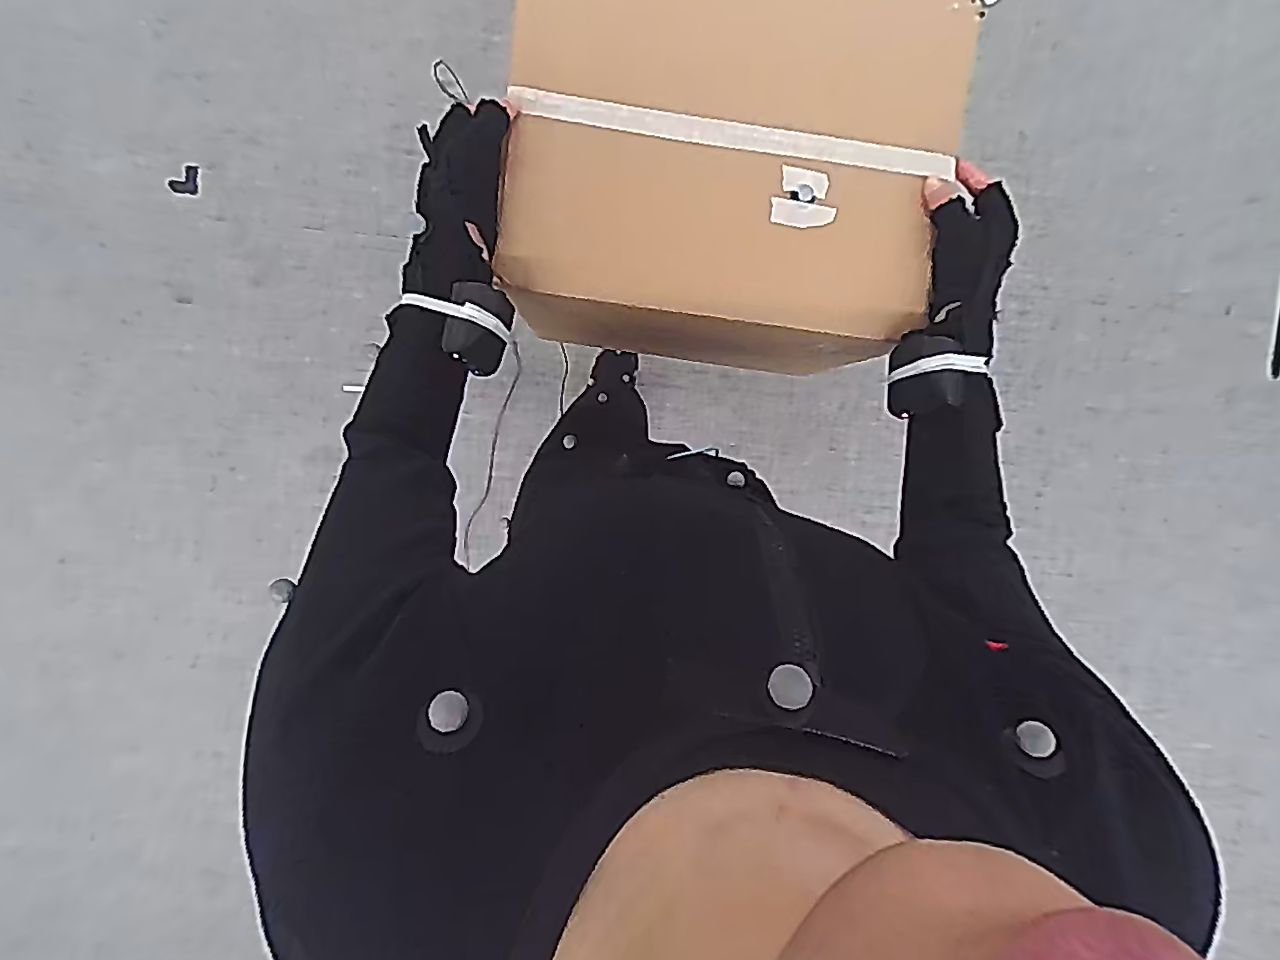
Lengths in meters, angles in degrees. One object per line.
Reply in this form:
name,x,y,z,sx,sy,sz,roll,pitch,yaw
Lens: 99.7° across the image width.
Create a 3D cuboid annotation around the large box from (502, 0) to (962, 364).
large box,0.073,-0.330,0.644,0.408,0.320,0.320,7,97,-4
